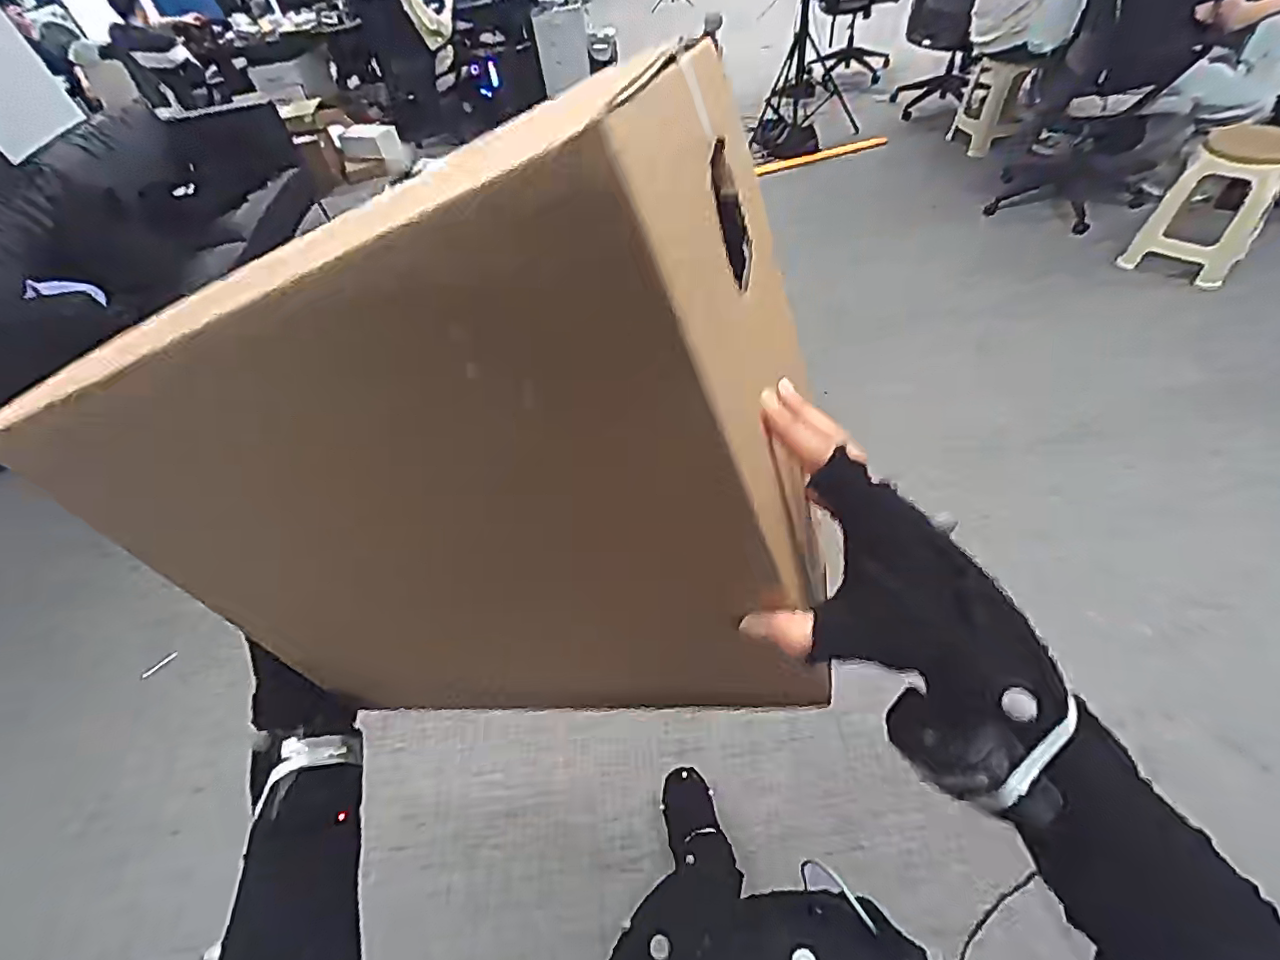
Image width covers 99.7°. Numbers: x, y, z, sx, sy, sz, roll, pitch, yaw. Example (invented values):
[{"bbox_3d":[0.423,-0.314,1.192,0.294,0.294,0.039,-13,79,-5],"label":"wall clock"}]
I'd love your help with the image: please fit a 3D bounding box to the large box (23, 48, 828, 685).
[{"bbox_3d":[-0.092,-0.059,0.429,0.408,0.320,0.320,-10,39,22],"label":"large box"}]
